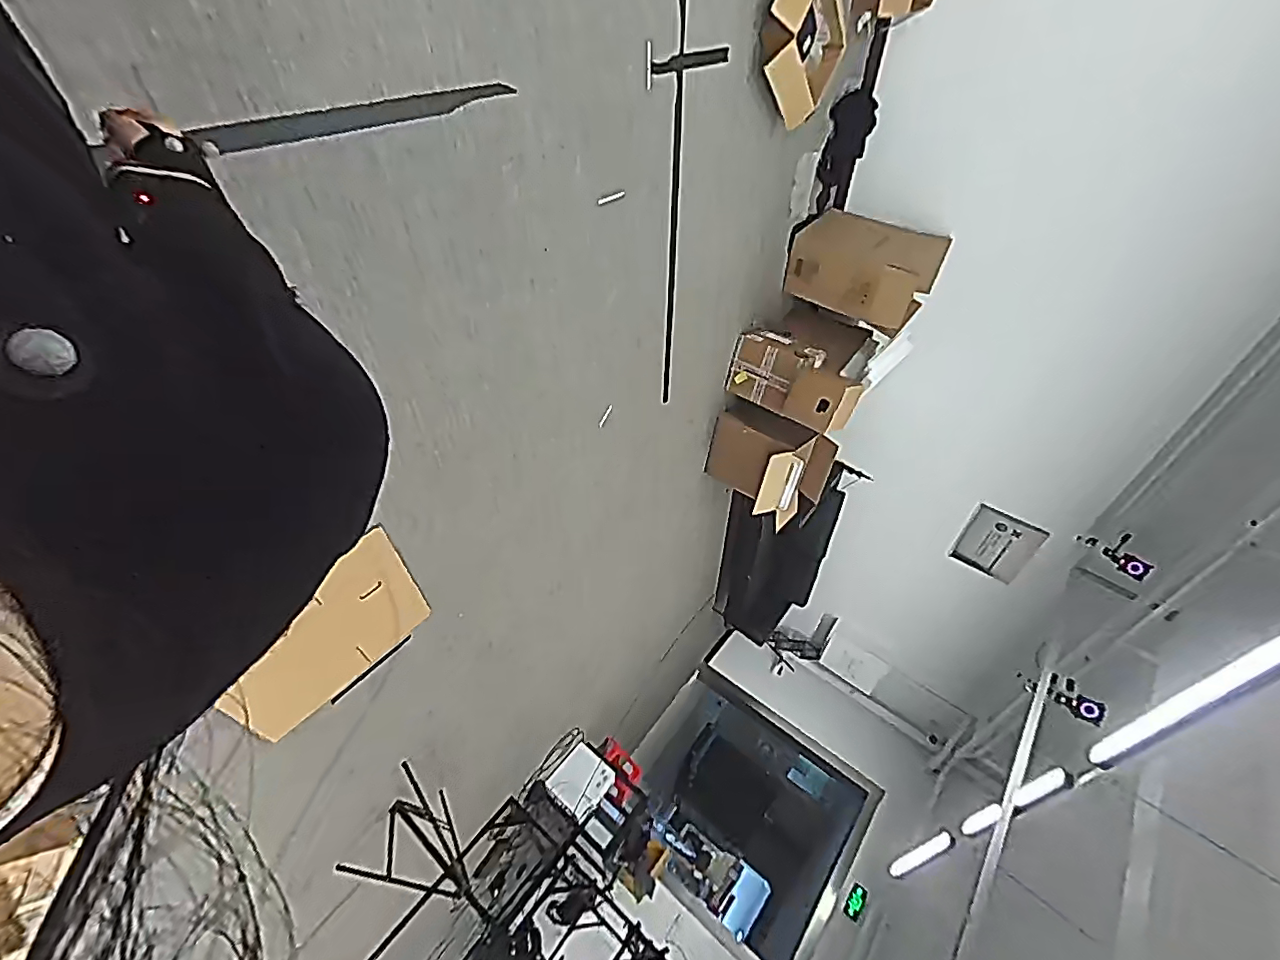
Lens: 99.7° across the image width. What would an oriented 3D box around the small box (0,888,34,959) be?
[{"bbox_3d":[-1.361,0.969,1.063,0.179,0.176,0.168,-63,153,3],"label":"small box"}]
